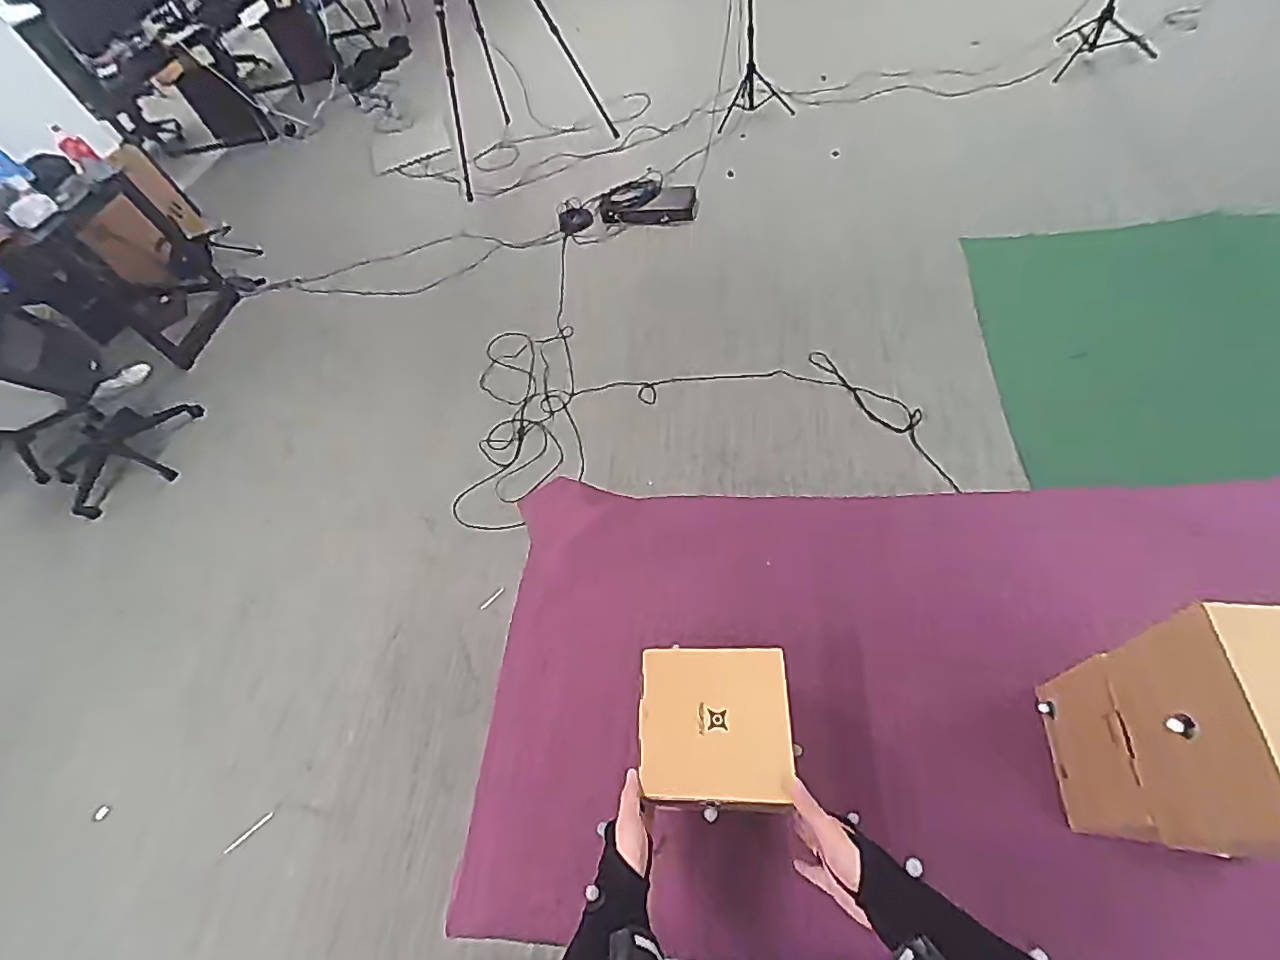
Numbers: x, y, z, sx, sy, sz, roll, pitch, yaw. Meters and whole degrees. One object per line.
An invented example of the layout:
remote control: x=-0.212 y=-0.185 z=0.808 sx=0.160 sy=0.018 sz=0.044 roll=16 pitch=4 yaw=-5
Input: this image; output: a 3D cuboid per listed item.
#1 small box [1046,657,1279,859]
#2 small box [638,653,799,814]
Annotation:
small box: x=0.588 y=0.309 z=0.598 sx=0.179 sy=0.176 sz=0.168 roll=1 pitch=57 yaw=12
small box: x=0.100 y=0.327 z=0.693 sx=0.179 sy=0.176 sz=0.168 roll=-4 pitch=56 yaw=10
